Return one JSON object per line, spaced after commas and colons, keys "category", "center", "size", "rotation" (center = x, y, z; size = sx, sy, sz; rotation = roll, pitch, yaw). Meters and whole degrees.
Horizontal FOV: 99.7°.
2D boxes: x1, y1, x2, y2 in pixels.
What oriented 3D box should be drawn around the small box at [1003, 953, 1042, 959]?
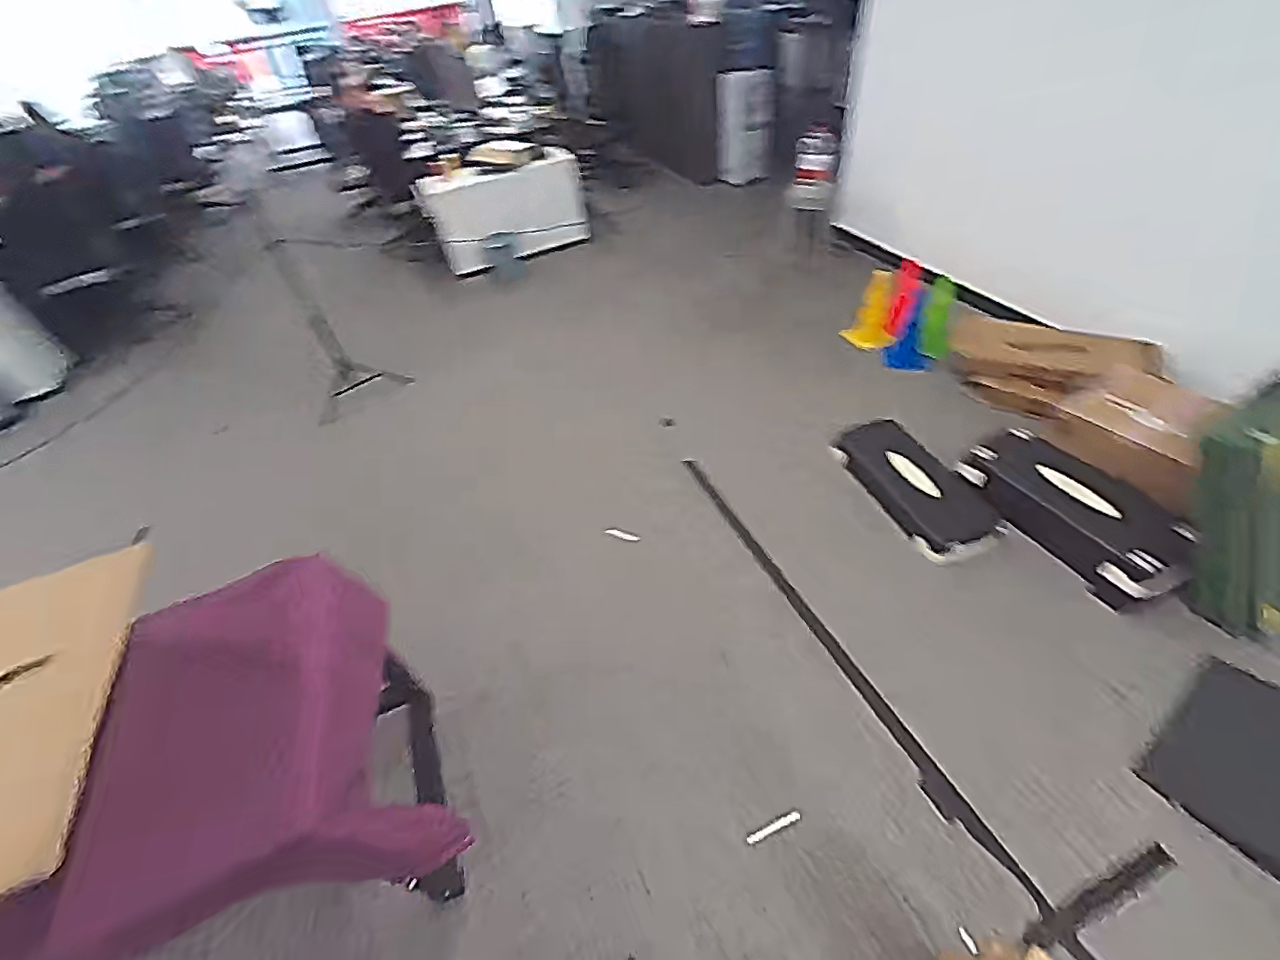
{"category": "small box", "center": [0.610, 0.870, 0.811], "size": [0.179, 0.176, 0.168], "rotation": [-37, 52, -25]}
